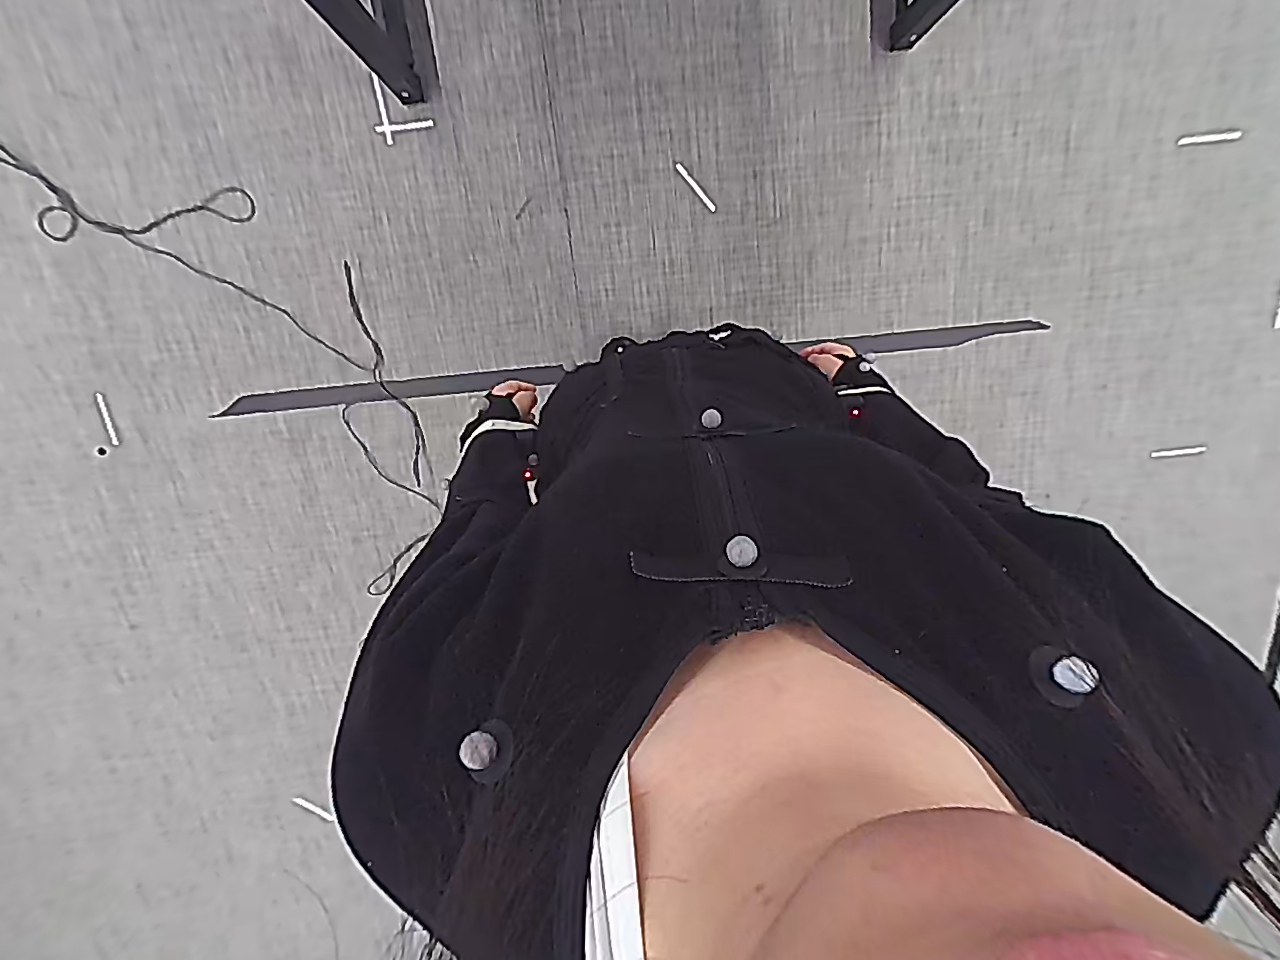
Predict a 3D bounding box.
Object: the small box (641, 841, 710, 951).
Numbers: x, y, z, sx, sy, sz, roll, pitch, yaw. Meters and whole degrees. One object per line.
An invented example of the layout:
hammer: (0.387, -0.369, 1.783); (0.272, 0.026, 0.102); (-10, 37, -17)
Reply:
small box: (0.098, 1.175, 1.536); (0.168, 0.176, 0.179); (-11, 105, 0)
